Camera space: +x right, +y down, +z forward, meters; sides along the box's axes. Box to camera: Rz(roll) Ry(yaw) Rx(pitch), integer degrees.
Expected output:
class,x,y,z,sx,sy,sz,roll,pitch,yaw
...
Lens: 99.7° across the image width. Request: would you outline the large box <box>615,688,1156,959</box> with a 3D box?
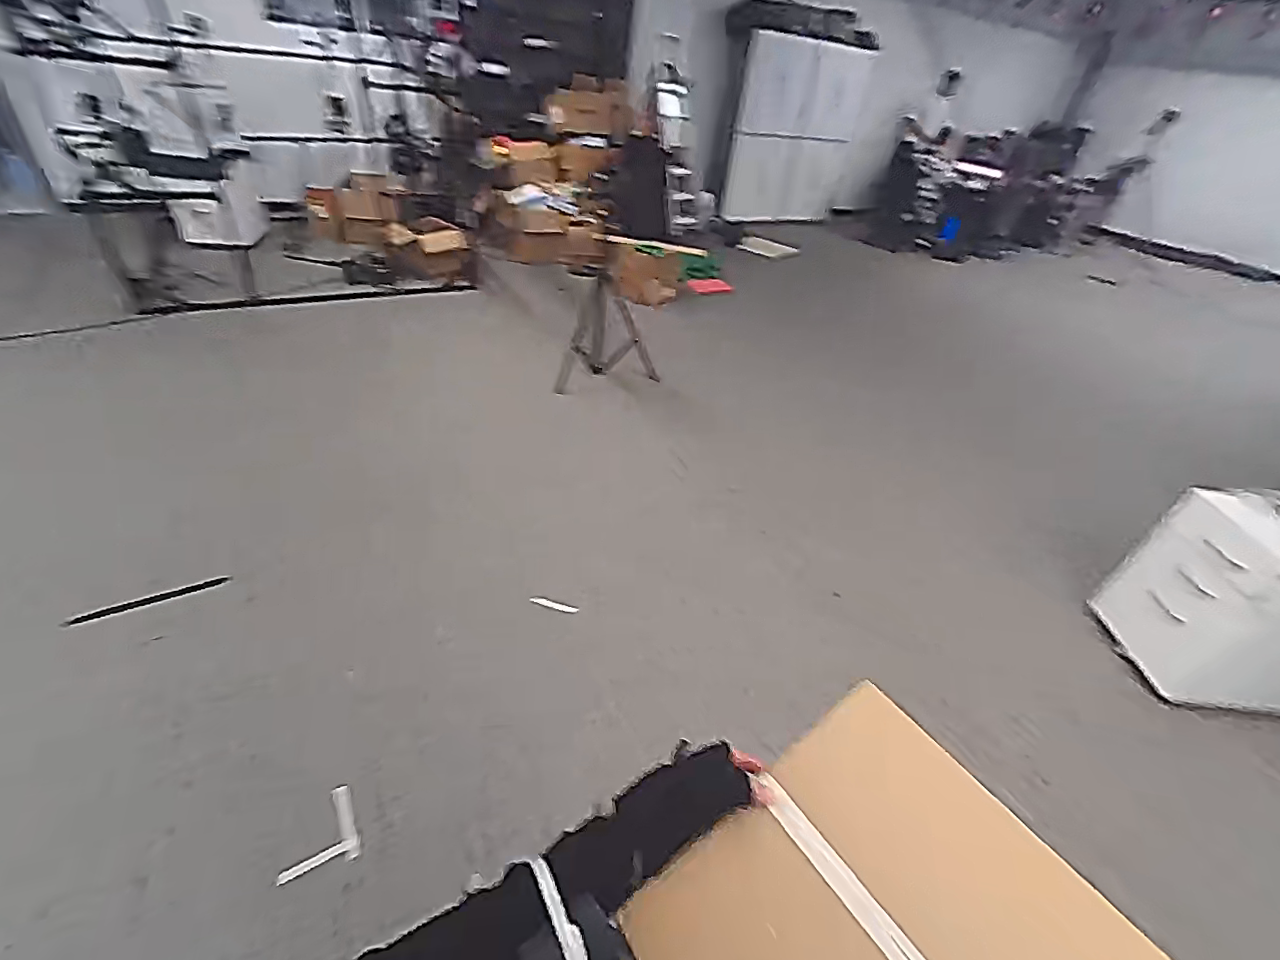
class,x,y,z,sx,sy,sz,roll,pitch,yaw
large box,0.216,0.488,0.481,0.320,0.320,0.408,-27,52,-27
